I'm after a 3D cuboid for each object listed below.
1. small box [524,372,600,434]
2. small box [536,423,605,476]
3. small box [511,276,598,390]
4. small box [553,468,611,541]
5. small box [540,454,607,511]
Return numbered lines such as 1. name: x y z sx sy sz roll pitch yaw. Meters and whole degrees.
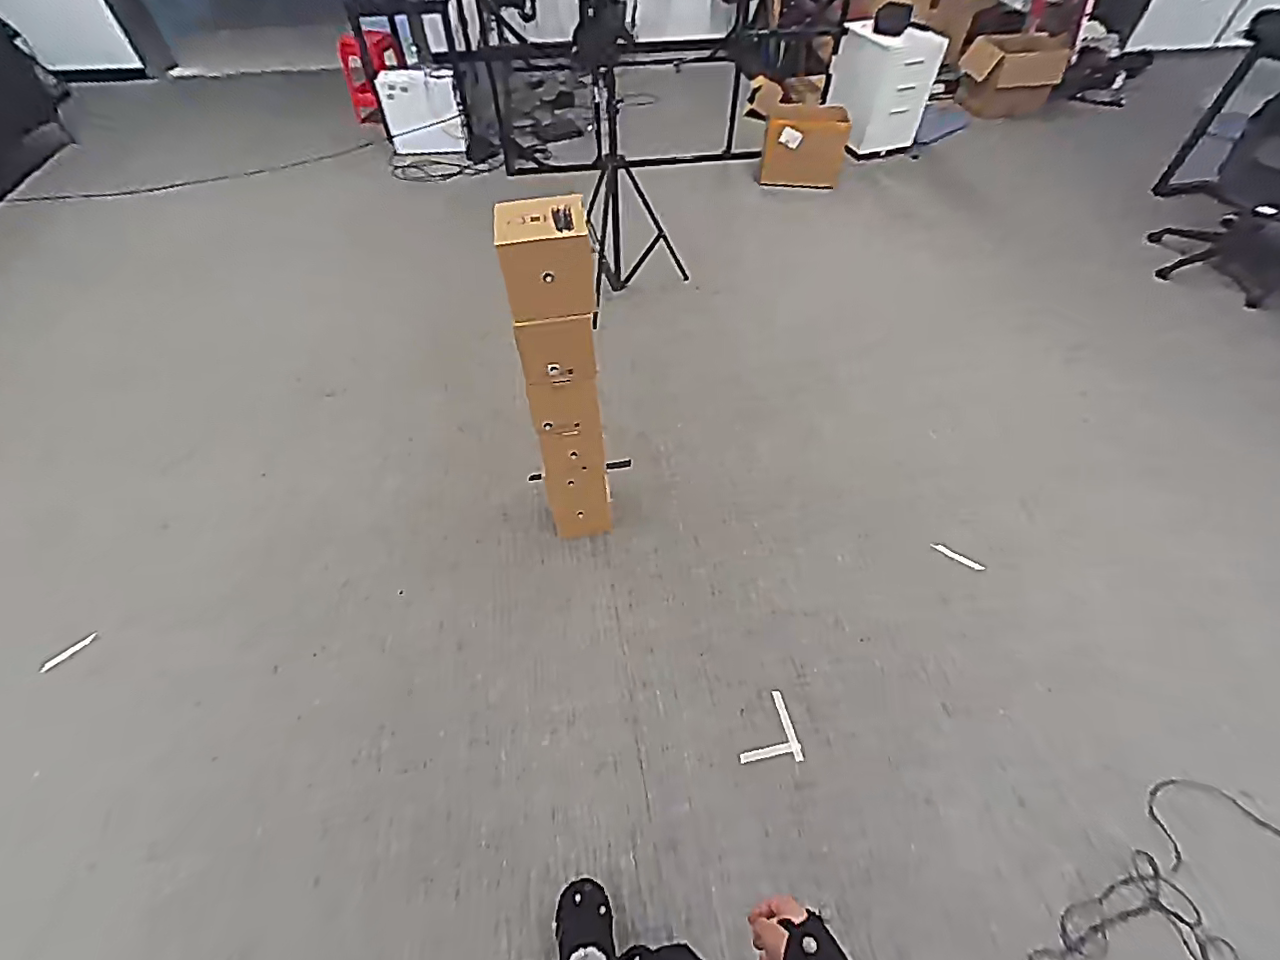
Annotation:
1. small box: -0.192 -0.228 1.343 0.168 0.176 0.179 -7 51 -5
2. small box: -0.188 -0.125 1.471 0.168 0.176 0.179 -6 53 -5
3. small box: -0.191 -0.329 1.217 0.168 0.176 0.179 -10 53 -5
4. small box: -0.188 0.077 1.728 0.179 0.176 0.168 -8 52 -6
5. small box: -0.195 -0.021 1.597 0.179 0.176 0.168 -6 53 -4
